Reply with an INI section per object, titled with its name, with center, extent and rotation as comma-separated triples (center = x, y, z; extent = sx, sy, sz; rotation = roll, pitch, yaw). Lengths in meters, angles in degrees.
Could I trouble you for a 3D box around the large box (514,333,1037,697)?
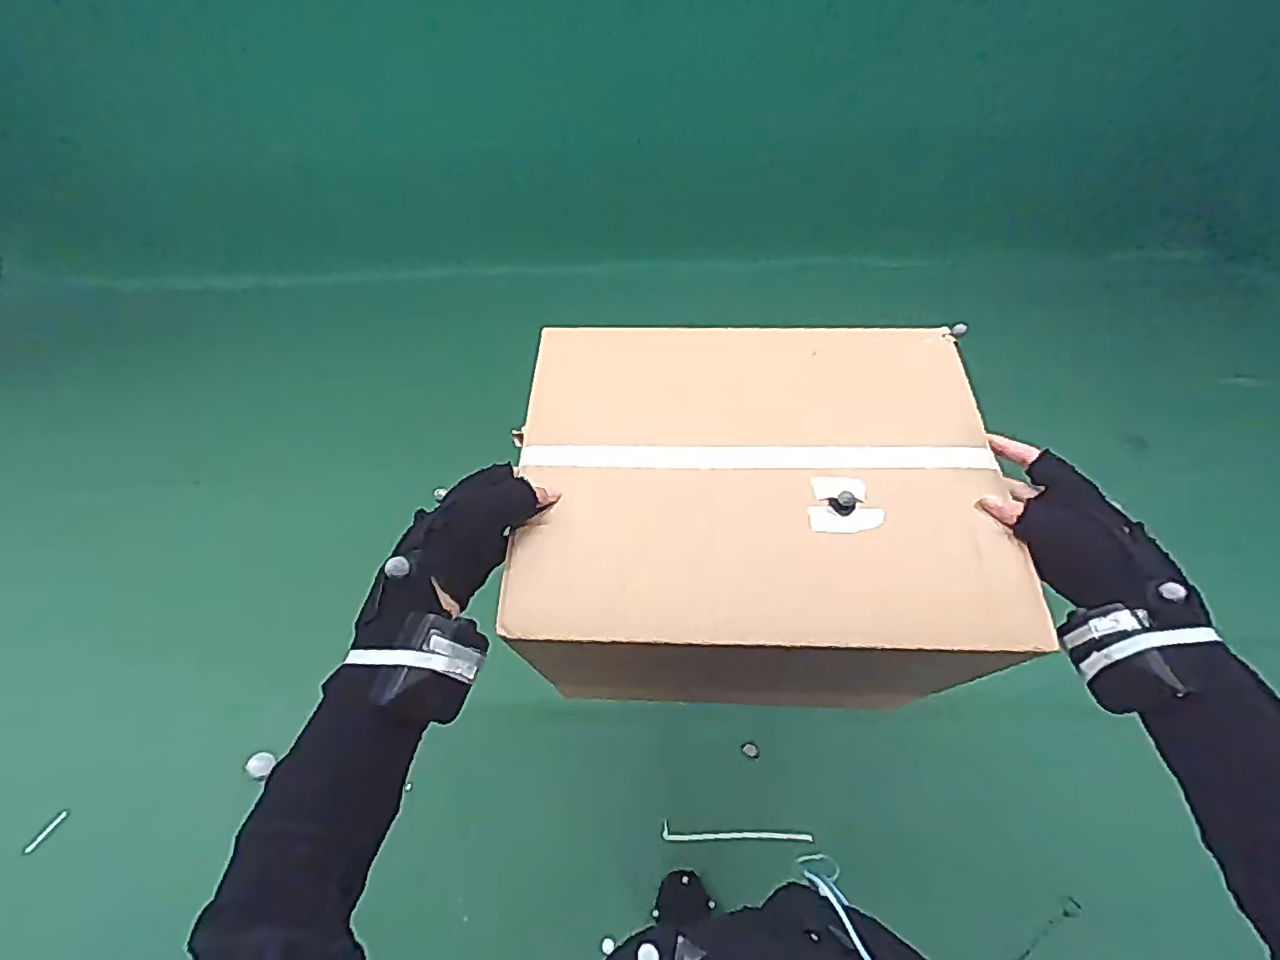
[large box]
center = 0.103, 0.056, 0.608
extent = 0.408, 0.320, 0.320
rotation = 1, 61, 1
